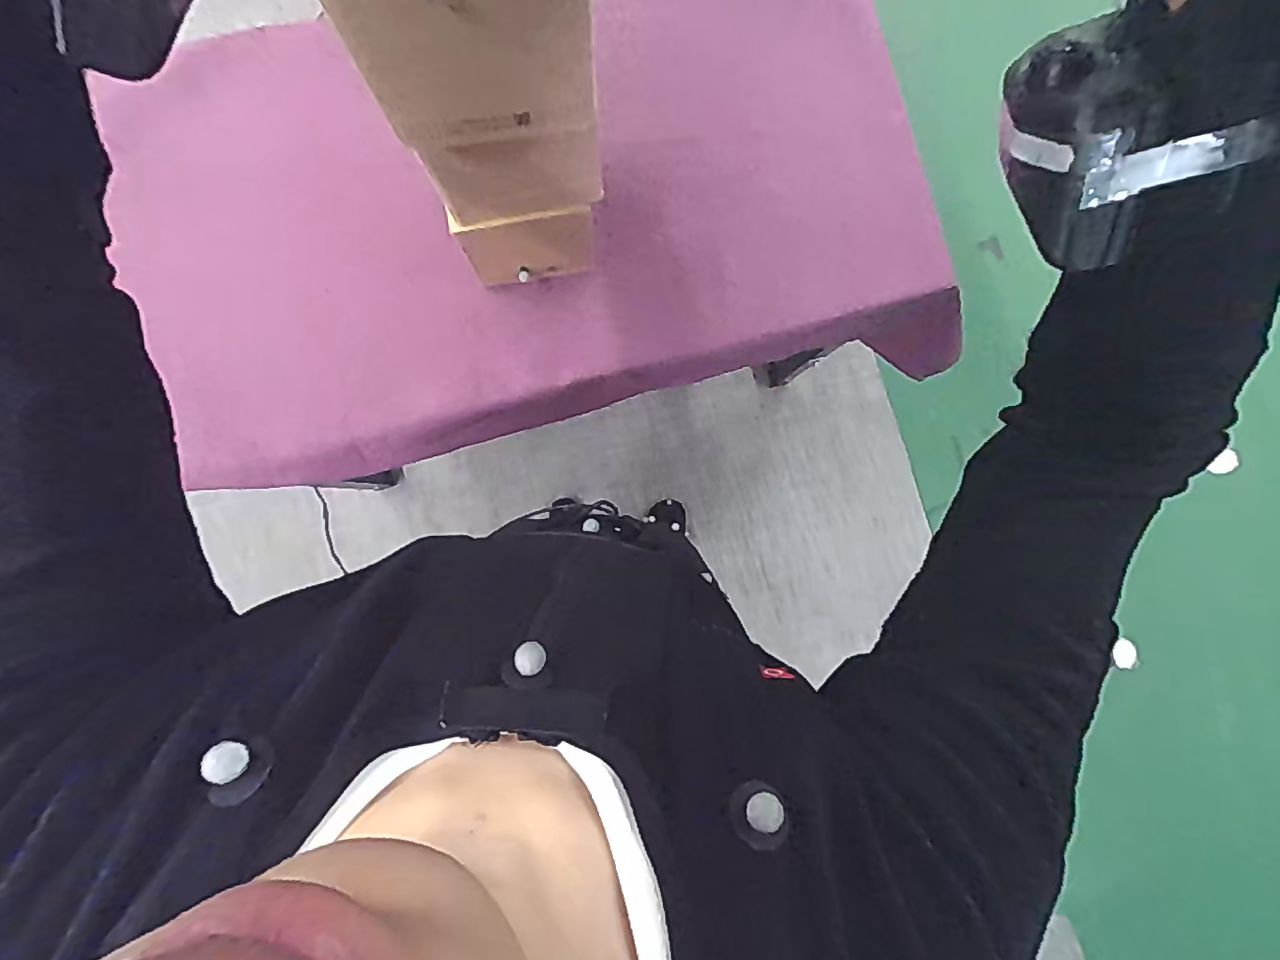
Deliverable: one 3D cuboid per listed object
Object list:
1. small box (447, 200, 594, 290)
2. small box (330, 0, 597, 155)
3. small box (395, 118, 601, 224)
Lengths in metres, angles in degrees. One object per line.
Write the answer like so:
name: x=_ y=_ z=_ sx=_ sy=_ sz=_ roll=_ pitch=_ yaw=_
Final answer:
small box: x=-0.156 y=-0.374 z=0.704 sx=0.168 sy=0.176 sz=0.179 roll=-11 pitch=88 yaw=-3
small box: x=-0.125 y=-0.372 z=0.380 sx=0.168 sy=0.176 sz=0.179 roll=-10 pitch=87 yaw=-3
small box: x=-0.141 y=-0.386 z=0.544 sx=0.179 sy=0.176 sz=0.168 roll=-13 pitch=88 yaw=-4
